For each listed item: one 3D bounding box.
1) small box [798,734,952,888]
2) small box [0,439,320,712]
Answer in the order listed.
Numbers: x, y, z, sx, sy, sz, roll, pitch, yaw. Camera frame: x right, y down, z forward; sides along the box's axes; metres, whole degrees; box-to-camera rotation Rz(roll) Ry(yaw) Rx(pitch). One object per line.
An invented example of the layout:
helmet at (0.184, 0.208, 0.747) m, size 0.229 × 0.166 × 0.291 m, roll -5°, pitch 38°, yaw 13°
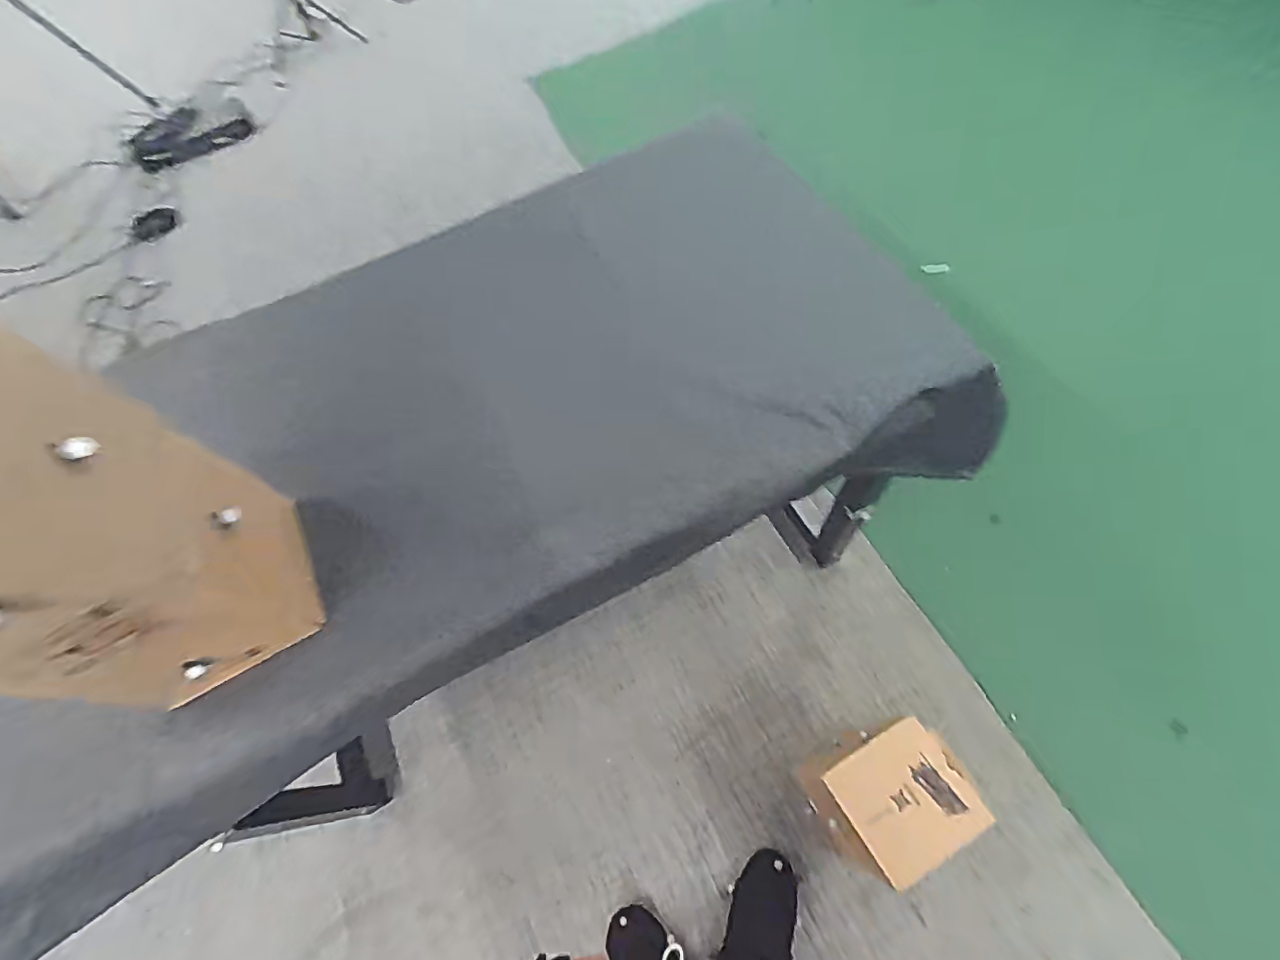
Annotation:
small box at (0.409, 0.586, 0.978) m, size 0.179 × 0.176 × 0.168 m, roll -30°, pitch 62°, yaw -8°
small box at (-0.449, 0.099, 0.520) m, size 0.168 × 0.176 × 0.179 m, roll -29°, pitch 63°, yaw -8°
